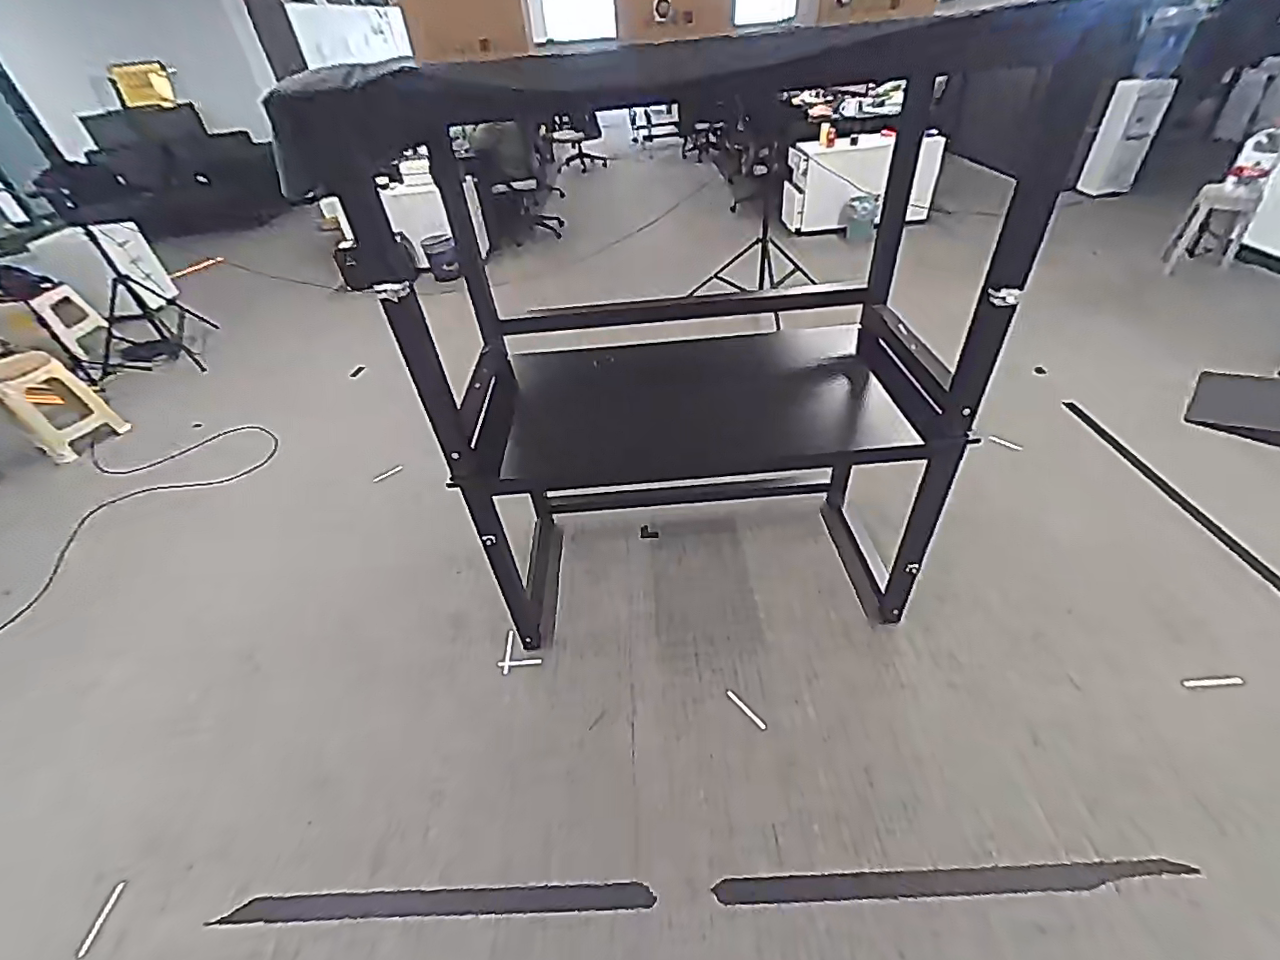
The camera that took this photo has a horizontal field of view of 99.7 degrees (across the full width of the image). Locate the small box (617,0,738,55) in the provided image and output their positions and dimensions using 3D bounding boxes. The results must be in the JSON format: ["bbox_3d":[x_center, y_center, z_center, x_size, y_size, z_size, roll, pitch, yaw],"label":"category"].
[{"bbox_3d":[0.051,-0.724,0.778,0.168,0.176,0.179,-4,39,4],"label":"small box"}]

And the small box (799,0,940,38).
[{"bbox_3d":[0.333,-0.752,0.774,0.168,0.176,0.179,-3,39,3],"label":"small box"}]
